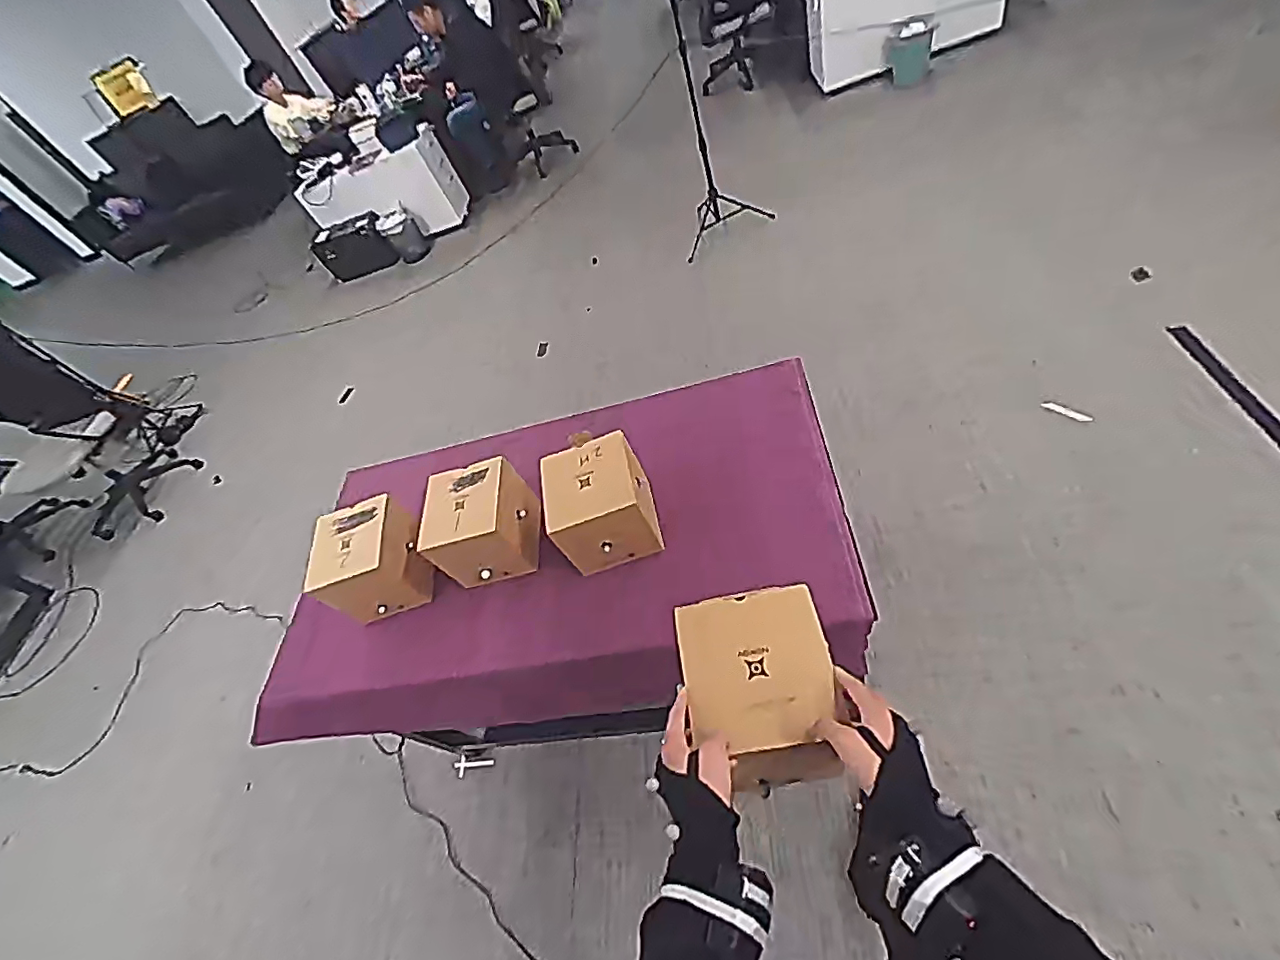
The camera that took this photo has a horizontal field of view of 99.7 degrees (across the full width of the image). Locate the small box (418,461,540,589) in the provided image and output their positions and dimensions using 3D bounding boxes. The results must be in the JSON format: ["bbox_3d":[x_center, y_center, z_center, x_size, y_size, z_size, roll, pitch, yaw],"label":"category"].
[{"bbox_3d":[-0.312,0.093,1.084,0.168,0.176,0.179,-15,52,12],"label":"small box"}]

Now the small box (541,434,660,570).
[{"bbox_3d":[-0.071,0.050,1.015,0.168,0.176,0.179,-19,50,8],"label":"small box"}]

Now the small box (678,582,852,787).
[{"bbox_3d":[0.147,0.256,0.671,0.168,0.176,0.179,-12,46,6],"label":"small box"}]
